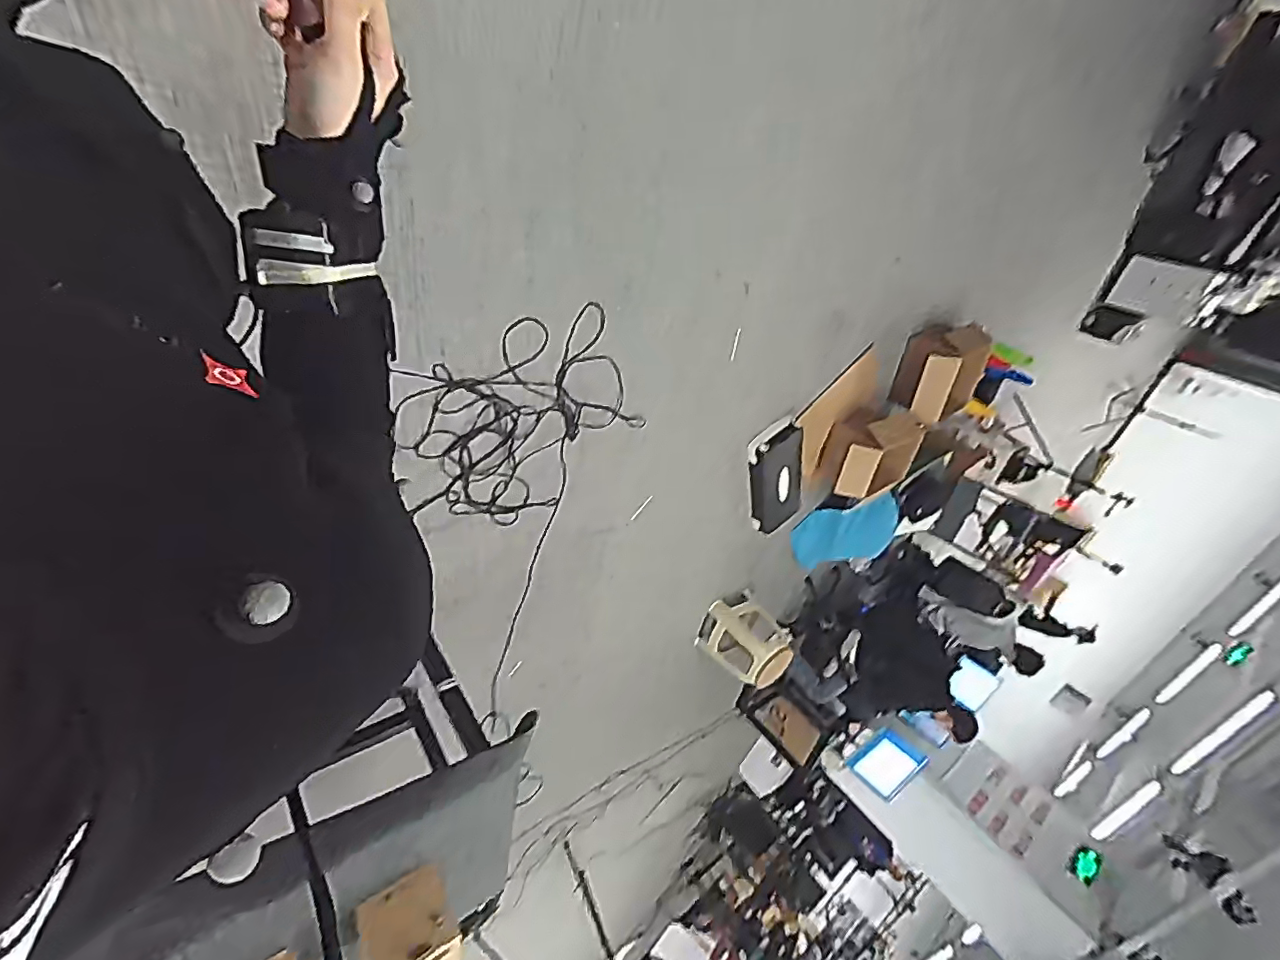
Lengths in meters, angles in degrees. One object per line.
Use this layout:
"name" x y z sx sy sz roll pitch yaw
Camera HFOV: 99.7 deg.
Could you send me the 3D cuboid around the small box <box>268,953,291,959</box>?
"small box" -0.741 1.066 1.031 0.168 0.176 0.179 -15 130 -36
